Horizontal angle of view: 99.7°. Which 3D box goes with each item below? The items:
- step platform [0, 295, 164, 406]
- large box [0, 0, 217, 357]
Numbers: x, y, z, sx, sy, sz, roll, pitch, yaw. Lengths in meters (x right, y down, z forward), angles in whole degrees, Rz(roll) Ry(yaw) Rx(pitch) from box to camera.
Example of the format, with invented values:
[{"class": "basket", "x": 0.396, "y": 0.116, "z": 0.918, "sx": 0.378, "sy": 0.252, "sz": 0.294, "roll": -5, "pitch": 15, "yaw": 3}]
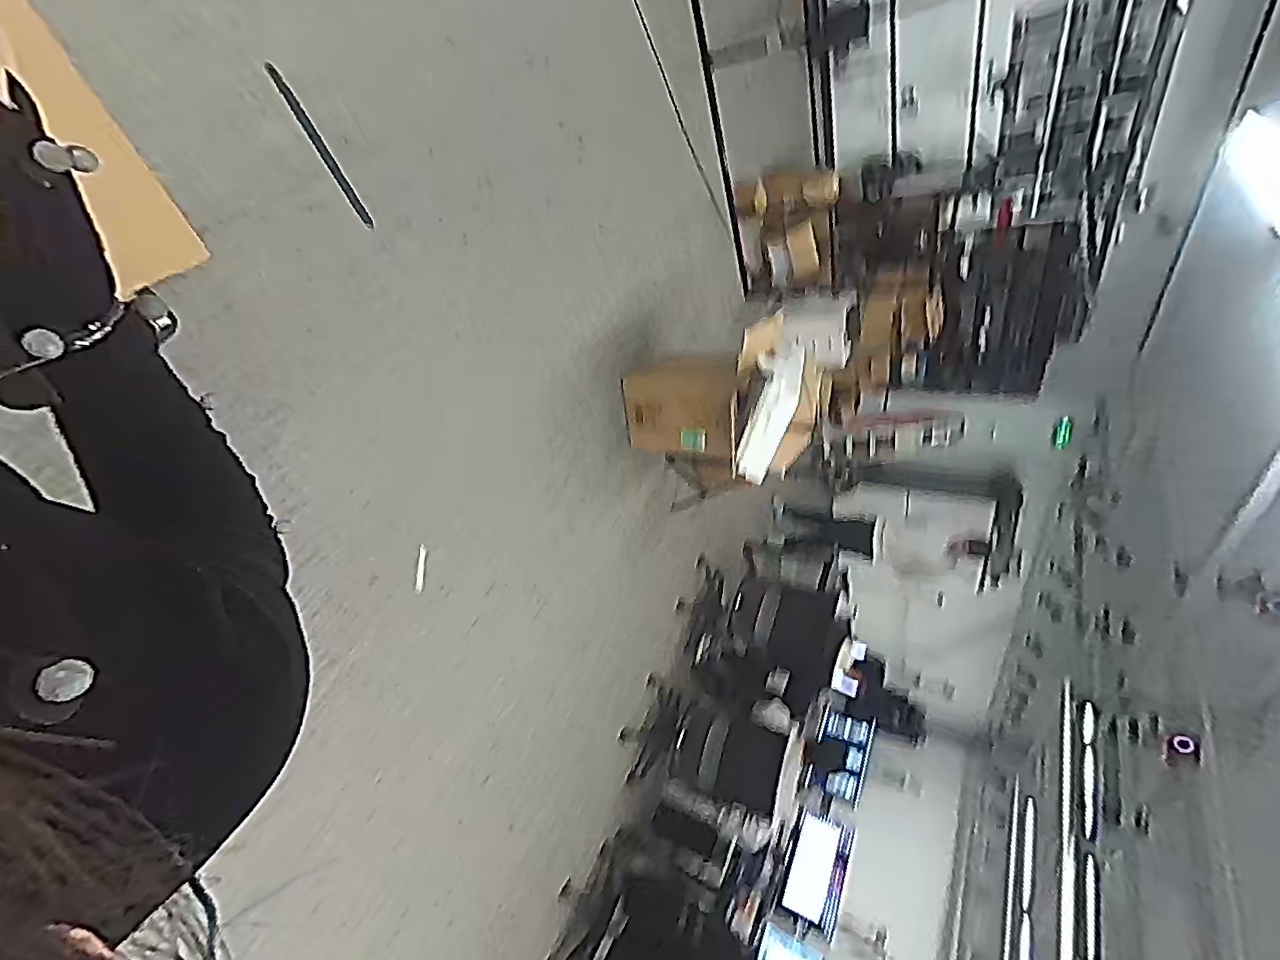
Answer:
[{"class": "step platform", "x": -1.120, "y": -0.458, "z": 0.825, "sx": 0.286, "sy": 0.204, "sz": 0.684, "roll": -52, "pitch": 137, "yaw": -39}, {"class": "large box", "x": -0.909, "y": -0.412, "z": 0.719, "sx": 0.320, "sy": 0.320, "sz": 0.408, "roll": -54, "pitch": 138, "yaw": -38}]
